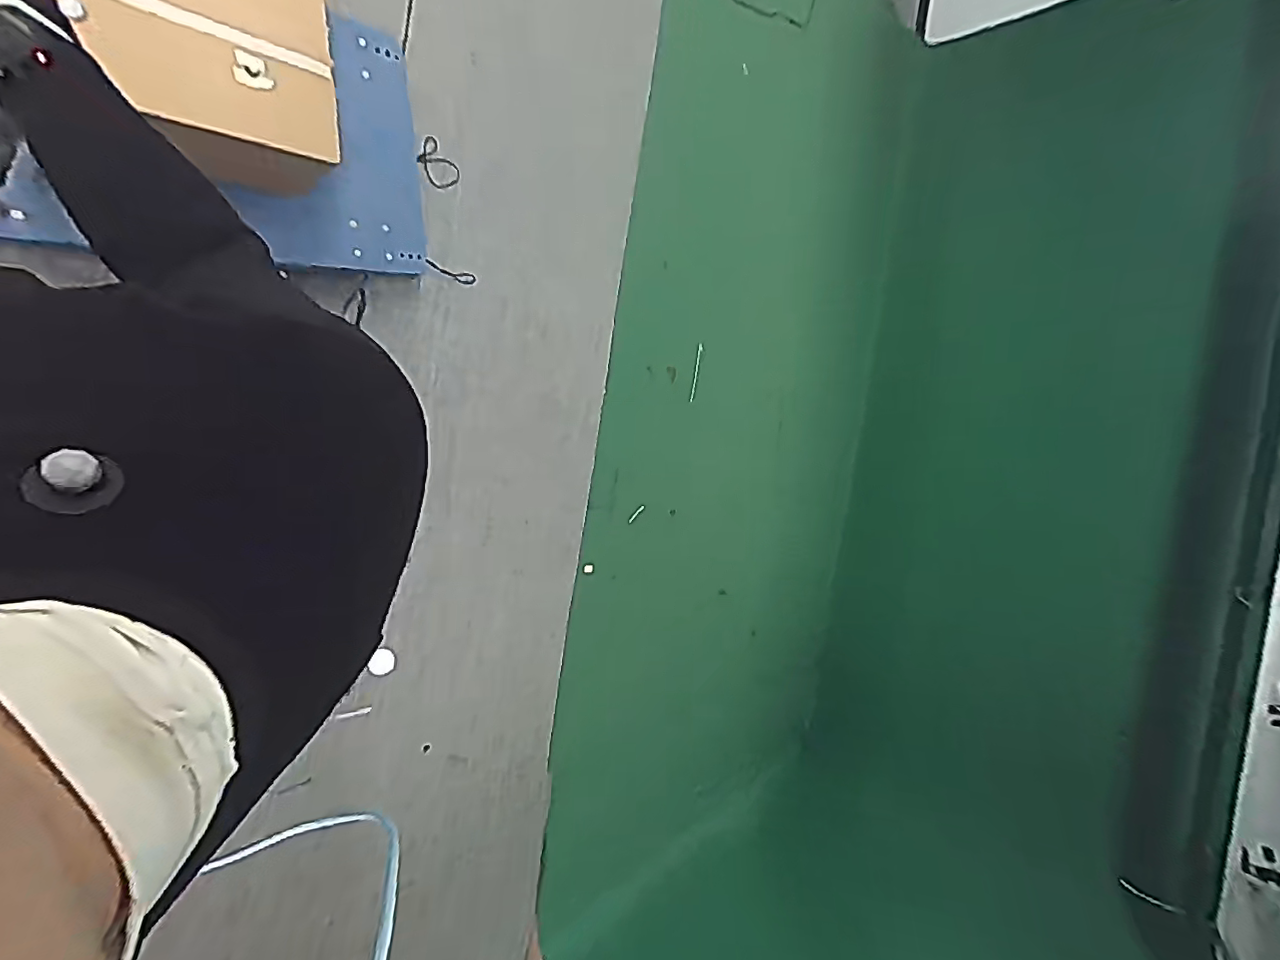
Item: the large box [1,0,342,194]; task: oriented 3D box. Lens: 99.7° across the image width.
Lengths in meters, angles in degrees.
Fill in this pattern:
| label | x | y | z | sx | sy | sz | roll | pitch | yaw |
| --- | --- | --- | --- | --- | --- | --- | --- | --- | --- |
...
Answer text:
| label | x | y | z | sx | sy | sz | roll | pitch | yaw |
| --- | --- | --- | --- | --- | --- | --- | --- | --- | --- |
| large box | -0.821 | -0.752 | 0.966 | 0.408 | 0.320 | 0.320 | -13 | 108 | -49 |
